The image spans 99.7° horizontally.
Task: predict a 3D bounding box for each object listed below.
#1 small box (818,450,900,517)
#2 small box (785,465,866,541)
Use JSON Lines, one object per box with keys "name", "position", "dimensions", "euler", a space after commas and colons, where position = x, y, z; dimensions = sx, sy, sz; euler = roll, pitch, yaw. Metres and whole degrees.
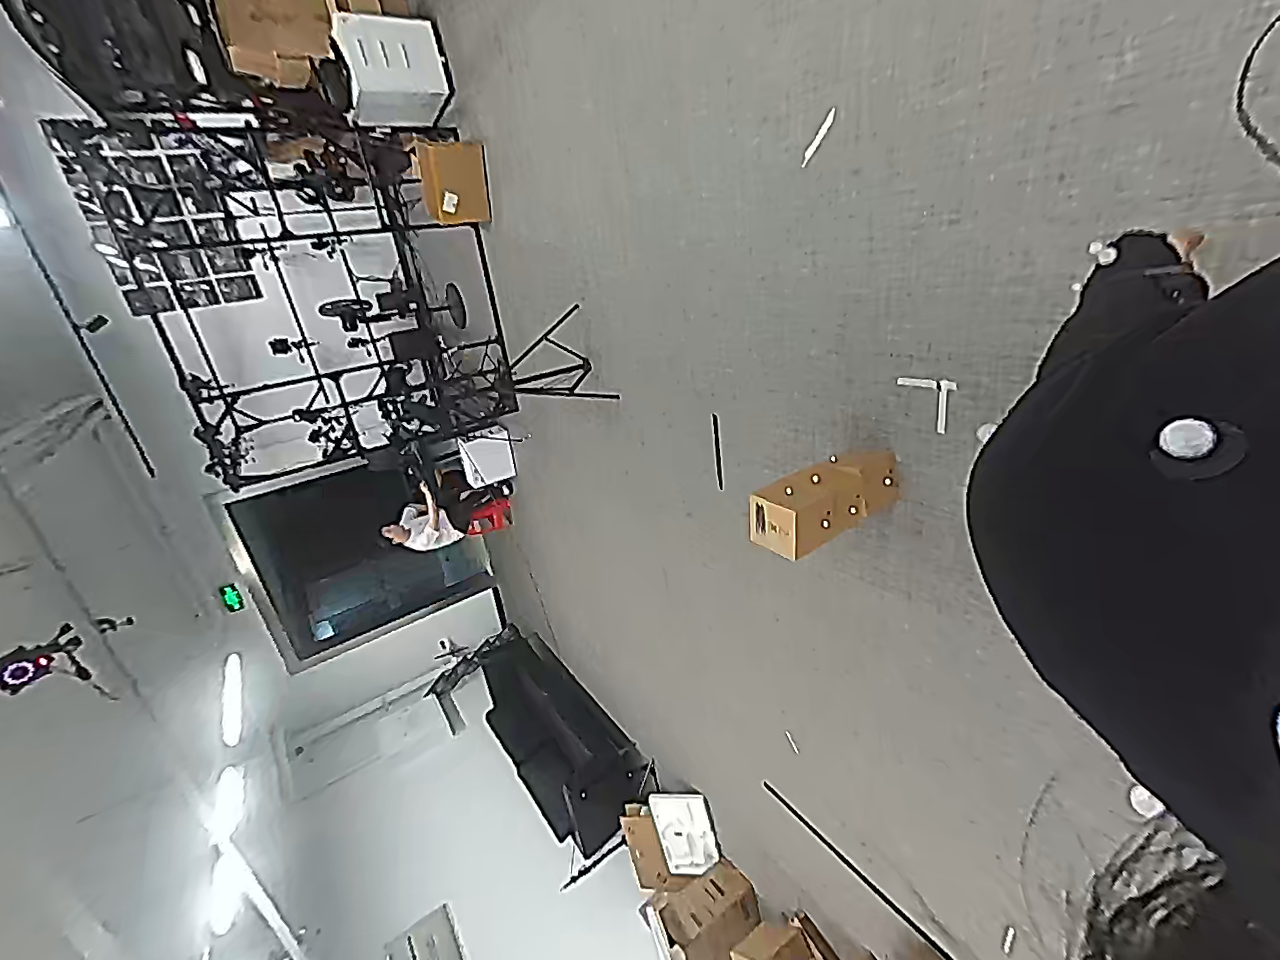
{"name": "small box", "position": [0.715, 0.005, 1.767], "dimensions": [0.179, 0.176, 0.168], "euler": [8, 116, 58]}
{"name": "small box", "position": [0.579, 0.063, 1.697], "dimensions": [0.179, 0.176, 0.168], "euler": [26, 130, 51]}
